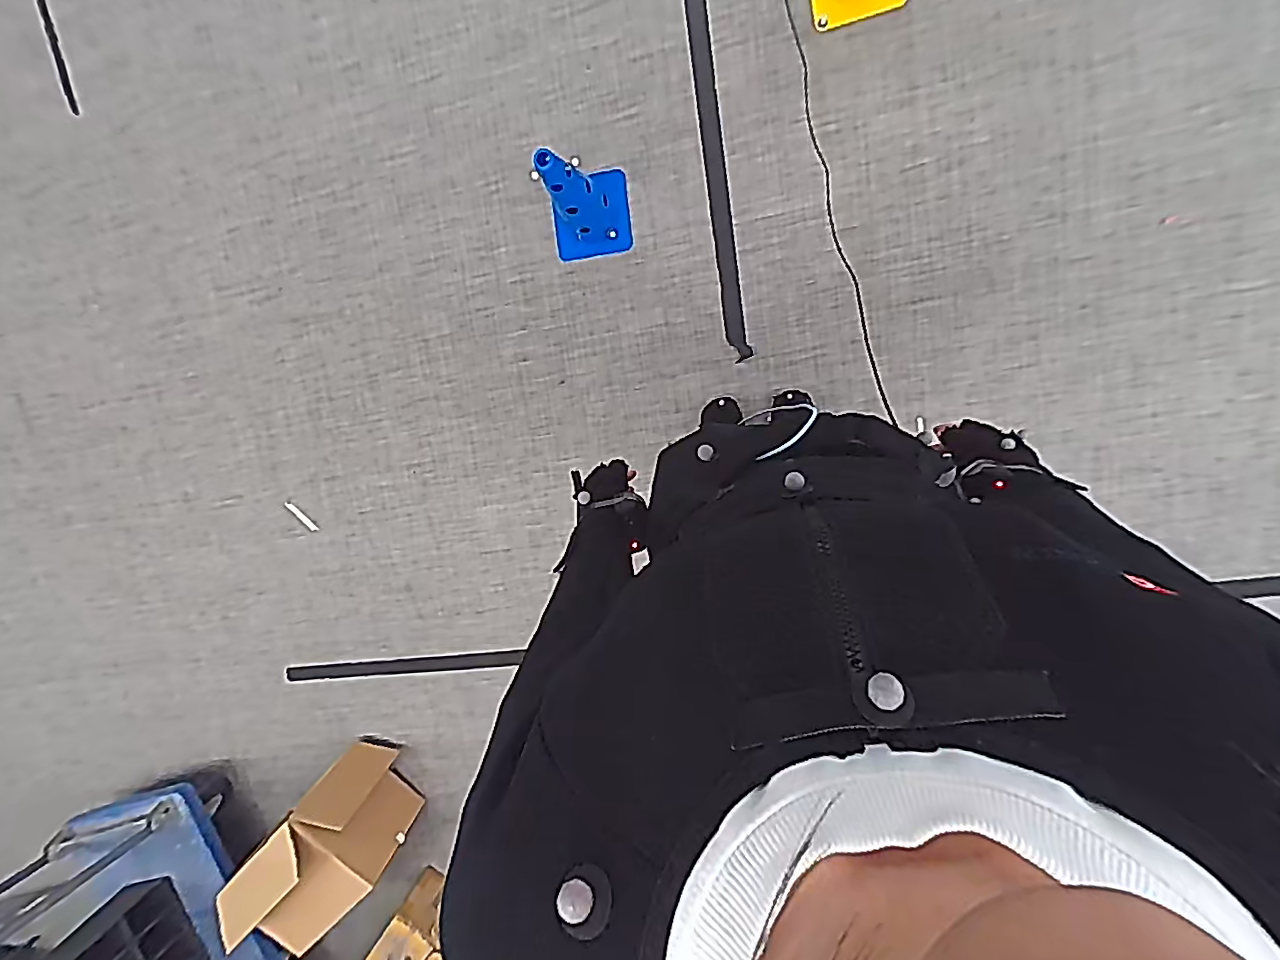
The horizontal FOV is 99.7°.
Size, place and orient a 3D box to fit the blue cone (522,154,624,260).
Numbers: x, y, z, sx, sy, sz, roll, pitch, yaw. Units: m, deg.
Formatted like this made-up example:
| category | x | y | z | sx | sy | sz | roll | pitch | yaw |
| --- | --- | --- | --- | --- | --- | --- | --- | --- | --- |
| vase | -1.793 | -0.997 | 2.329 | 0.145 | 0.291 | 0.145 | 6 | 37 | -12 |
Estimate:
| category | x | y | z | sx | sy | sz | roll | pitch | yaw |
| --- | --- | --- | --- | --- | --- | --- | --- | --- | --- |
| blue cone | -0.168 | -0.649 | 1.228 | 0.192 | 0.380 | 0.193 | -3 | 99 | 12 |
